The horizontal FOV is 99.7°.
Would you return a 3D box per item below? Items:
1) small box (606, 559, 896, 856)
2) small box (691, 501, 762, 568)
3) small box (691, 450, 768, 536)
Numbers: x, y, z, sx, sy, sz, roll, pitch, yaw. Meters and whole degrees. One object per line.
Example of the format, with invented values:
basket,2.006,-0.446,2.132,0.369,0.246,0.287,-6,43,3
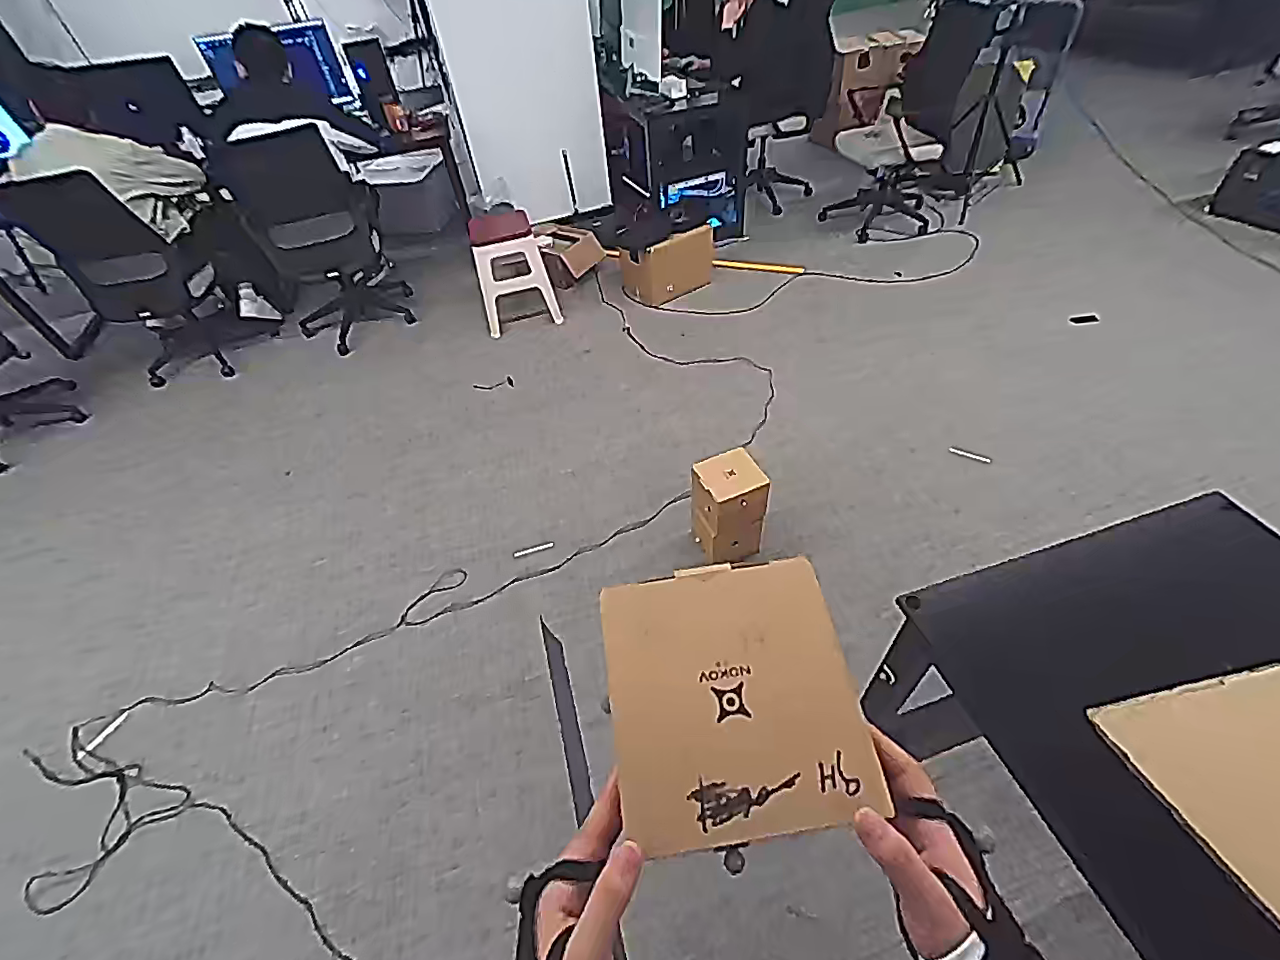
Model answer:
small box,0.068,0.187,0.434,0.168,0.176,0.179,-9,56,-1
small box,0.277,0.155,1.758,0.179,0.176,0.168,-19,48,-10
small box,0.267,0.043,1.641,0.179,0.176,0.168,-20,49,-13
